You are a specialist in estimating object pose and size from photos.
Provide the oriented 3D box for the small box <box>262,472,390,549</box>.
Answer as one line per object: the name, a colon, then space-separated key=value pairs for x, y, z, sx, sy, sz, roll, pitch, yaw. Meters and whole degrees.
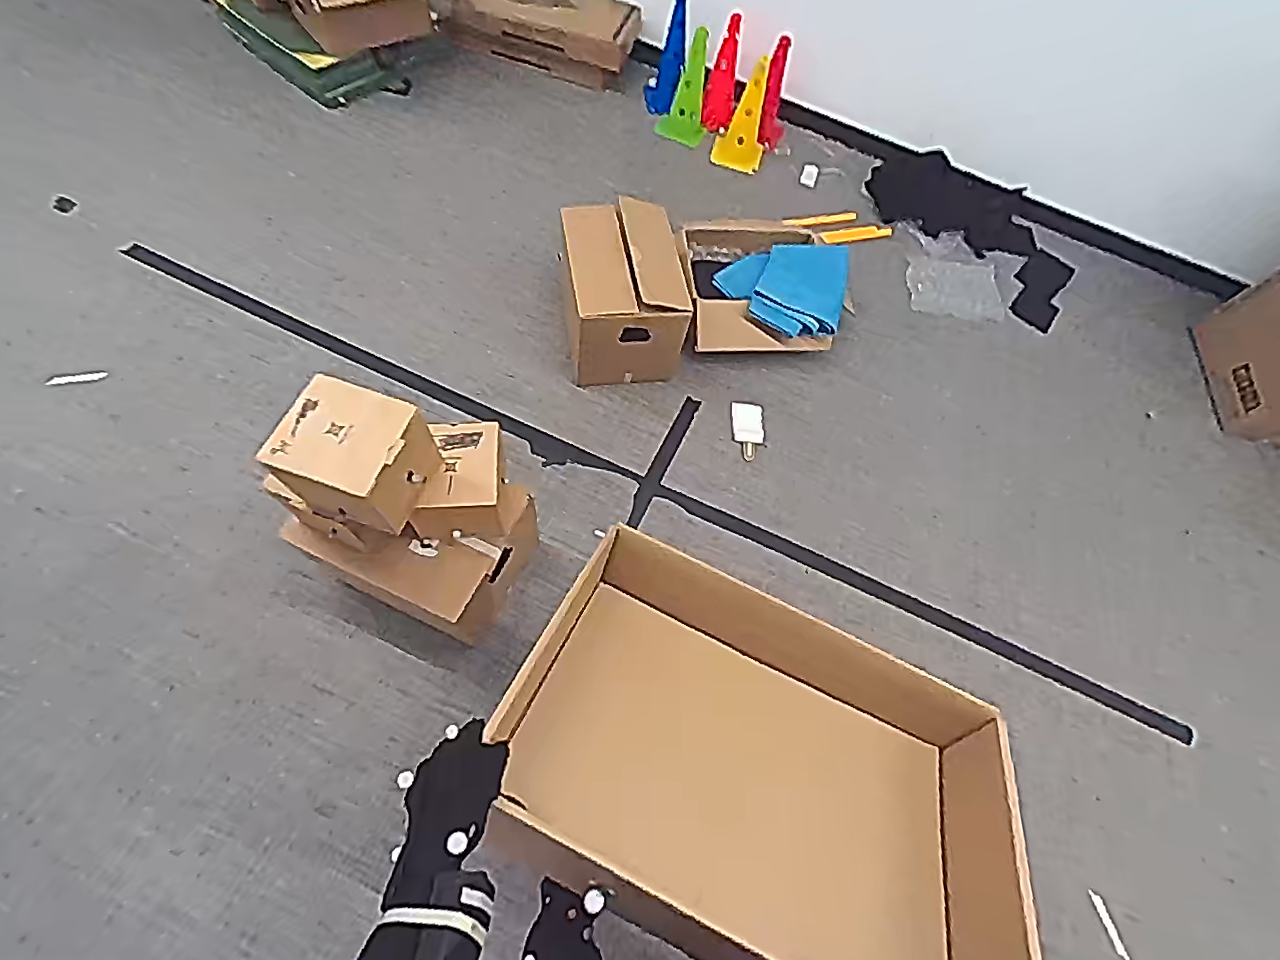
small box: x=-0.551 y=0.007 z=1.026 sx=0.168 sy=0.176 sz=0.179 roll=24 pitch=63 yaw=2

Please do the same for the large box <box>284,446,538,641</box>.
large box: x=-0.485 y=0.131 z=1.247 sx=0.408 sy=0.320 sz=0.320 roll=24 pitch=65 yaw=3

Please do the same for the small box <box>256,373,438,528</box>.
small box: x=-0.455 y=-0.038 z=0.877 sx=0.179 sy=0.176 sz=0.168 roll=19 pitch=64 yaw=2
